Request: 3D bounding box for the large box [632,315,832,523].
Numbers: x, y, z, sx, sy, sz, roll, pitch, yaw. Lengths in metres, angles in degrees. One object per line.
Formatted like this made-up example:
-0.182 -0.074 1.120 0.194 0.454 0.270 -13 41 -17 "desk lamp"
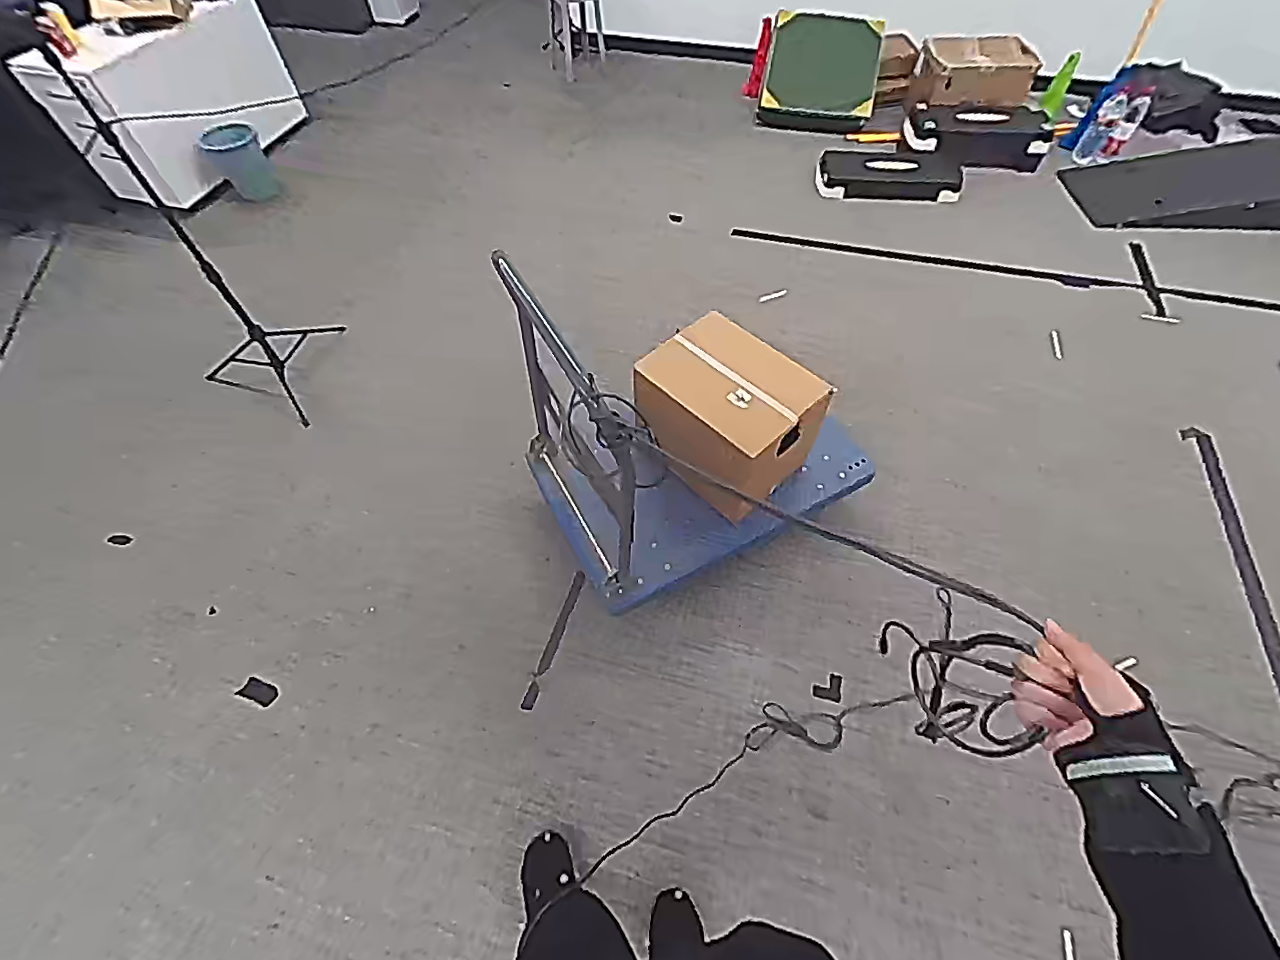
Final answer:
0.222 -0.164 1.459 0.320 0.320 0.408 -39 65 -21 "large box"
